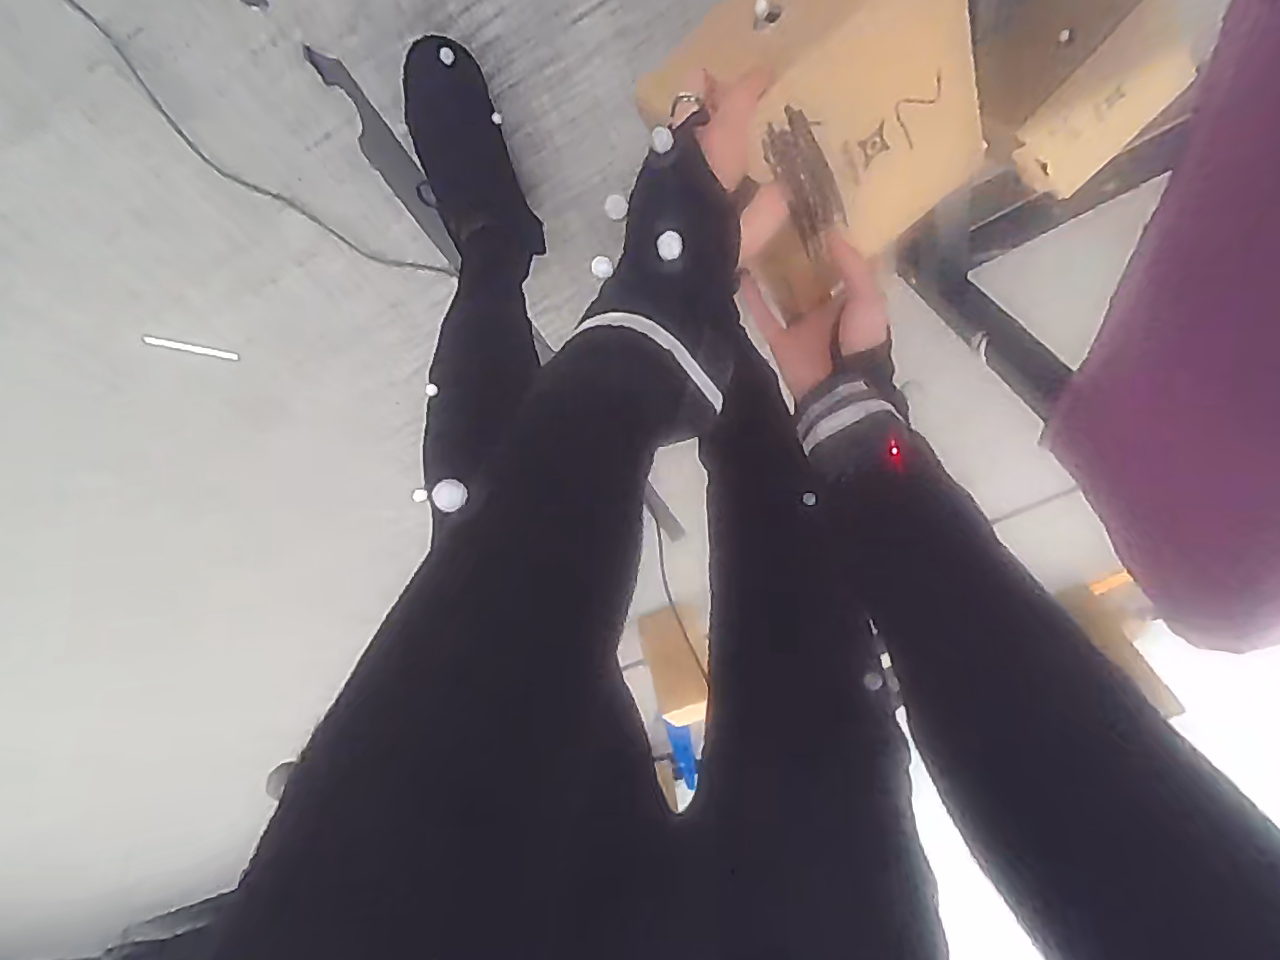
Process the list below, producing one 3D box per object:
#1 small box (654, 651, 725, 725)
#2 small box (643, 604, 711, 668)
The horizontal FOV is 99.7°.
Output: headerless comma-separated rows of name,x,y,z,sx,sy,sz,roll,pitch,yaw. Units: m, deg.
small box,0.162,0.682,1.779,0.168,0.176,0.179,-23,139,11
small box,0.122,0.555,1.874,0.179,0.176,0.168,-27,139,14
